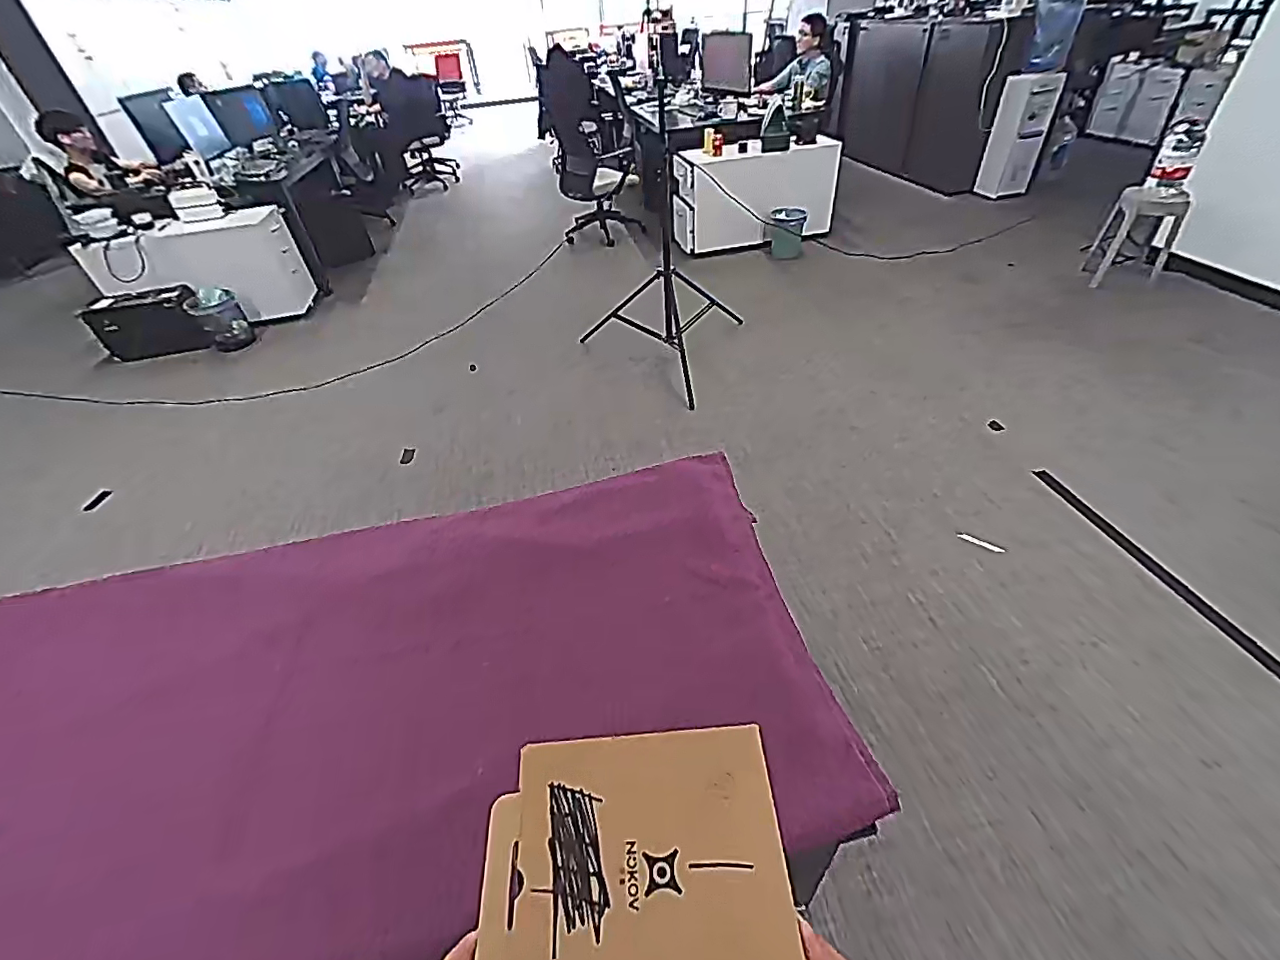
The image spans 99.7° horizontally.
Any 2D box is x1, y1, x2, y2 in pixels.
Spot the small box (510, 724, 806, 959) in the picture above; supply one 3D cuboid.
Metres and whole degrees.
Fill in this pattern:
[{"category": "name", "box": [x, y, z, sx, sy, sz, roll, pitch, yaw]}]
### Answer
[{"category": "small box", "box": [0.012, 0.300, 0.403, 0.179, 0.176, 0.168, -5, 48, 0]}]
